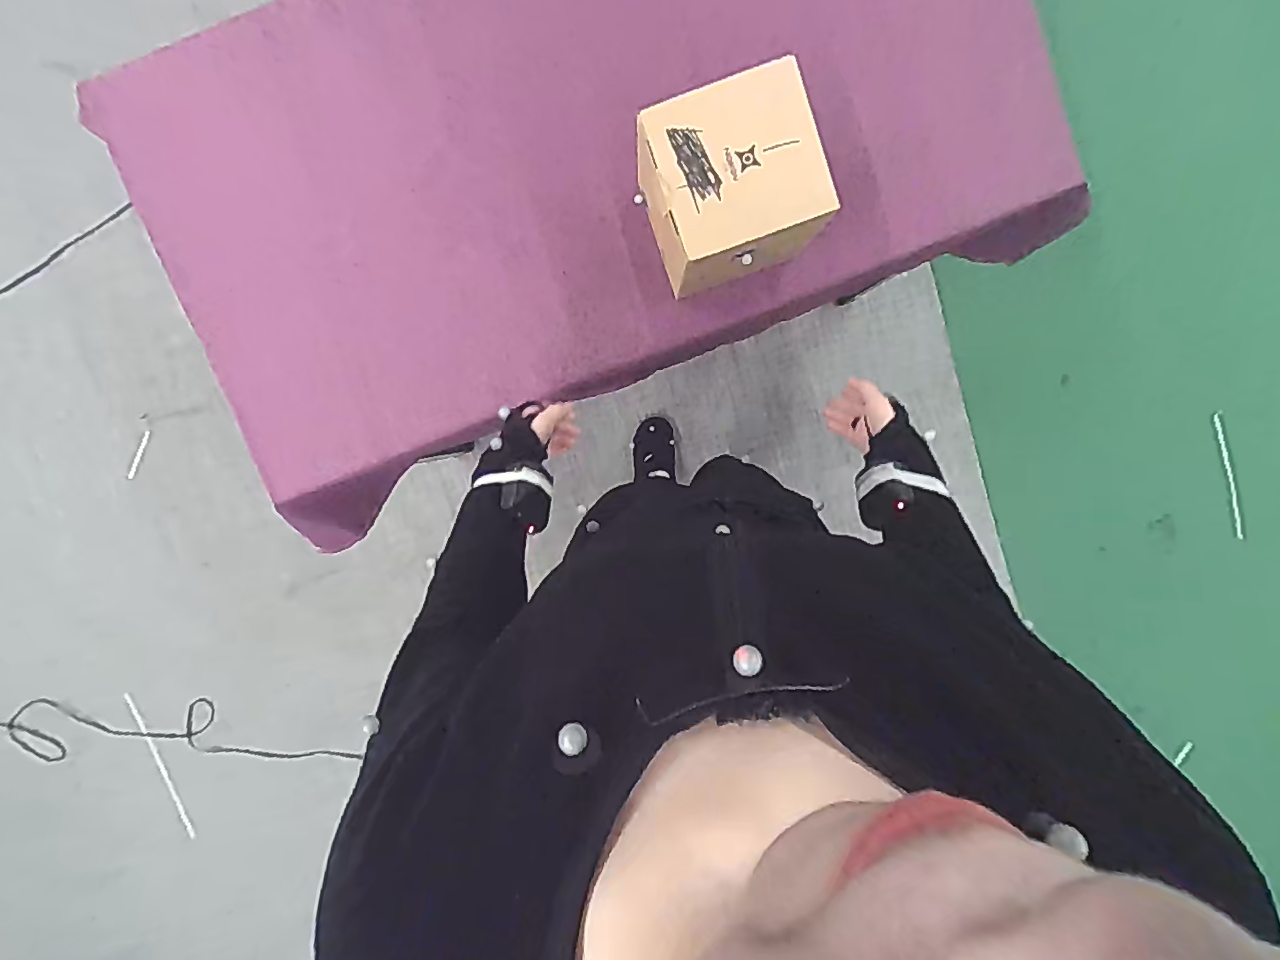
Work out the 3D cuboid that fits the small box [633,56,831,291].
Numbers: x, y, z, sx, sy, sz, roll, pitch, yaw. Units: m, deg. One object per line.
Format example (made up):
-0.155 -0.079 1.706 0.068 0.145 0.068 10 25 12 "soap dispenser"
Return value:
0.099 -0.348 0.653 0.179 0.176 0.168 -19 96 1 "small box"
